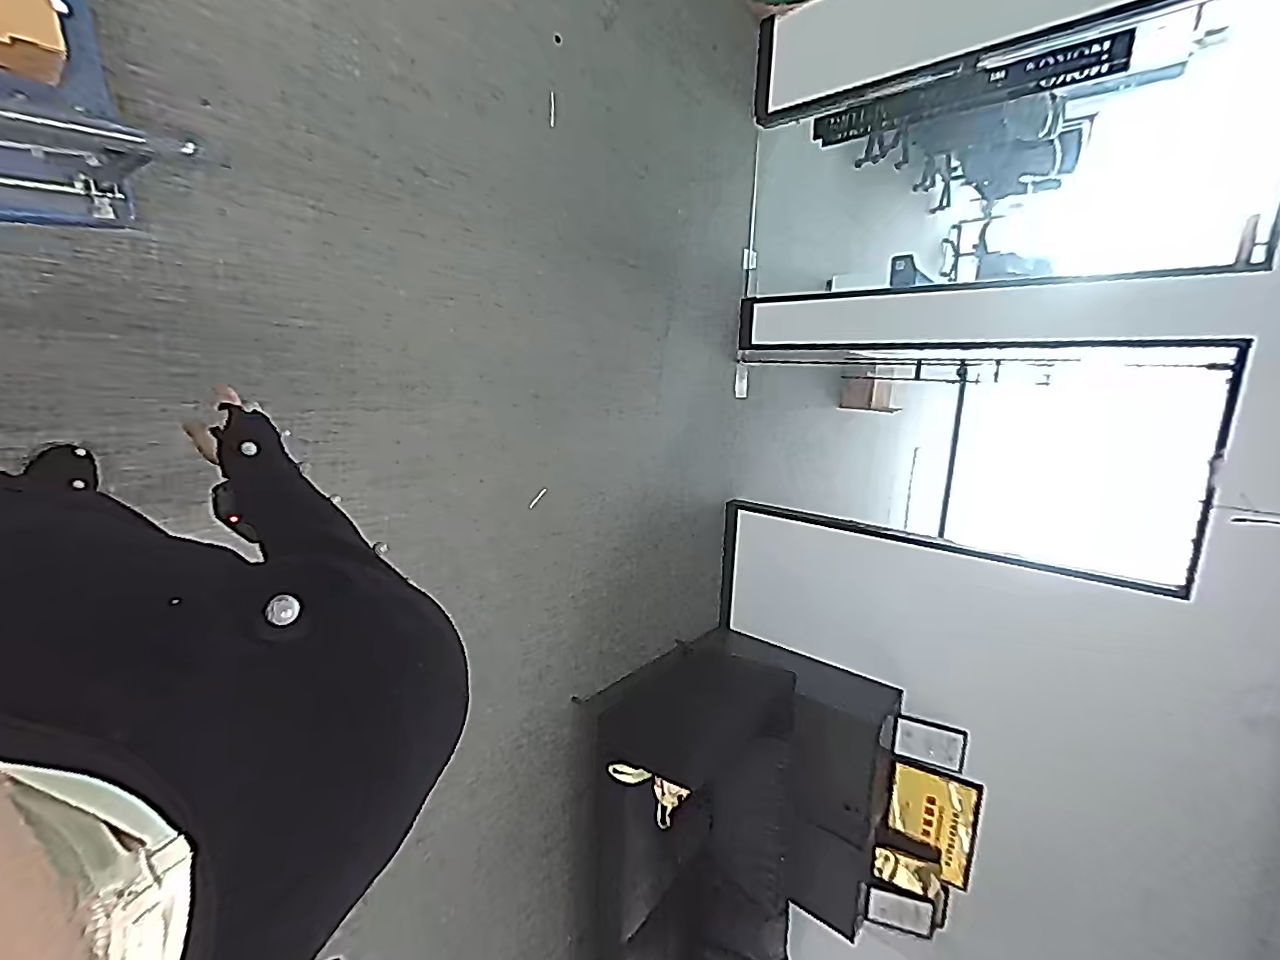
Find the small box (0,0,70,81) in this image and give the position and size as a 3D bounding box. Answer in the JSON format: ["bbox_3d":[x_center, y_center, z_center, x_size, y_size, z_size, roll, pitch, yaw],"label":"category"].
[{"bbox_3d":[-0.997,-0.741,0.805,0.168,0.176,0.179,-18,113,-48],"label":"small box"}]
